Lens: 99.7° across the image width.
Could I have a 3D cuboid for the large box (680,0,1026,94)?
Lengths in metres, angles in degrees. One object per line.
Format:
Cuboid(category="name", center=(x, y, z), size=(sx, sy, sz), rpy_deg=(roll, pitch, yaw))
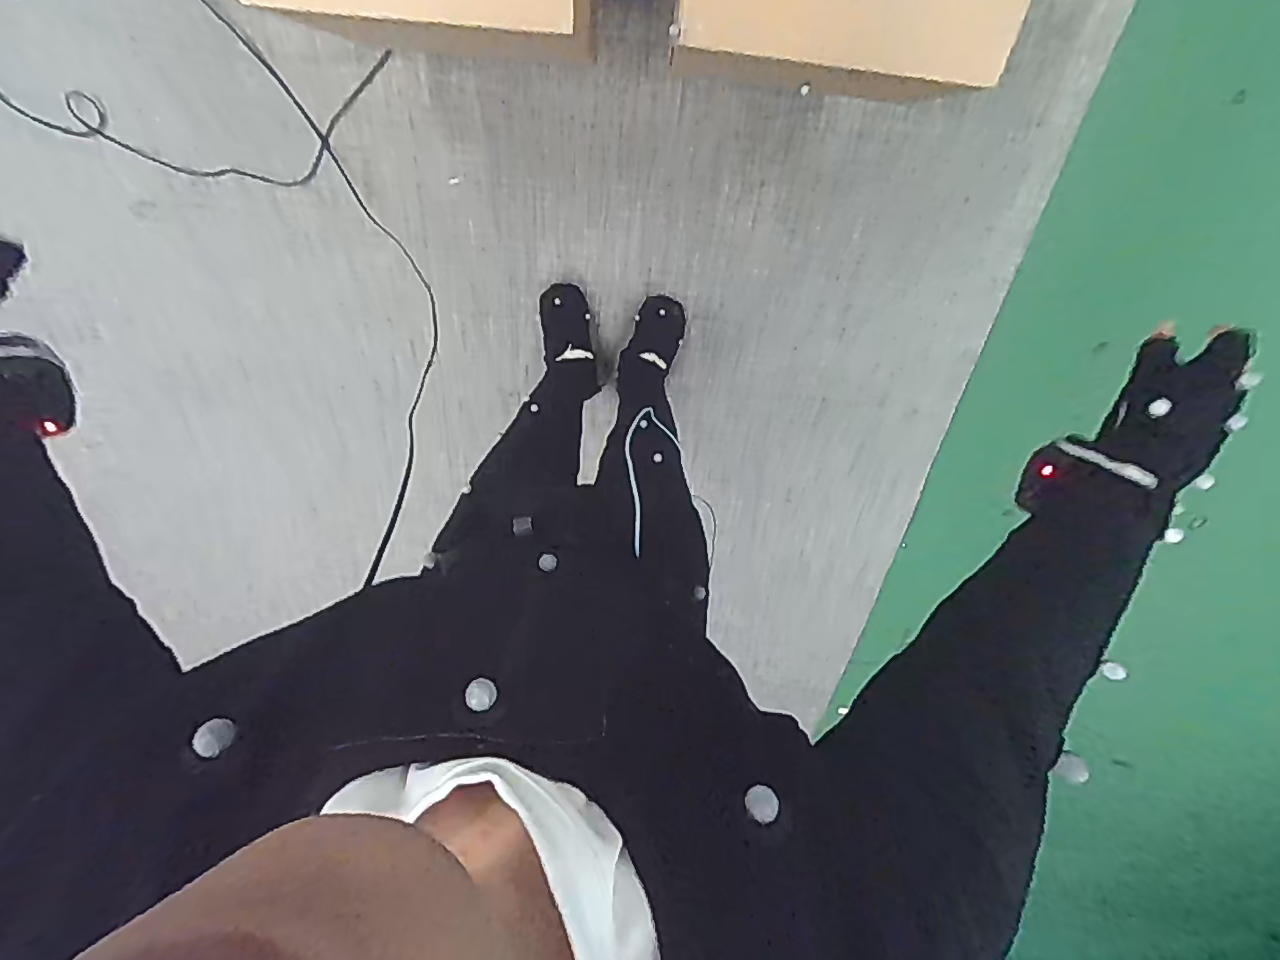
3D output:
Cuboid(category="large box", center=(0.276, -0.729, 0.721), size=(0.408, 0.320, 0.320), rpy_deg=(7, 122, -2))
